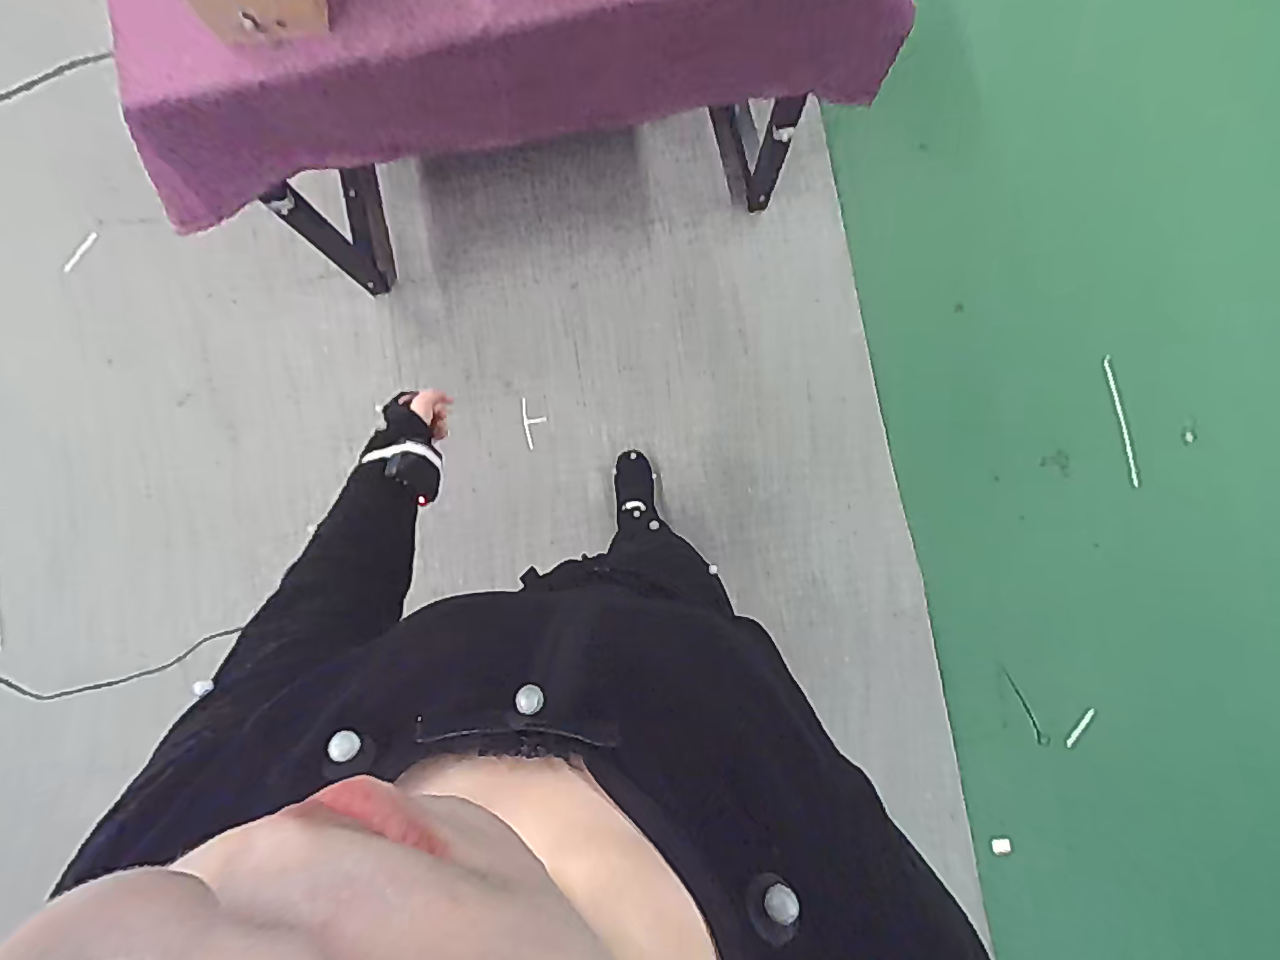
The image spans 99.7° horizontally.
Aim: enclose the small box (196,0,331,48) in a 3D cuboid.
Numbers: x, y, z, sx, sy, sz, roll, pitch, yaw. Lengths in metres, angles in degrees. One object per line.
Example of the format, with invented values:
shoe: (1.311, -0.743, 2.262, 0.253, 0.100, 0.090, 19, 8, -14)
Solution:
small box: (-0.573, -0.777, 0.776, 0.168, 0.176, 0.179, -7, 85, 1)
